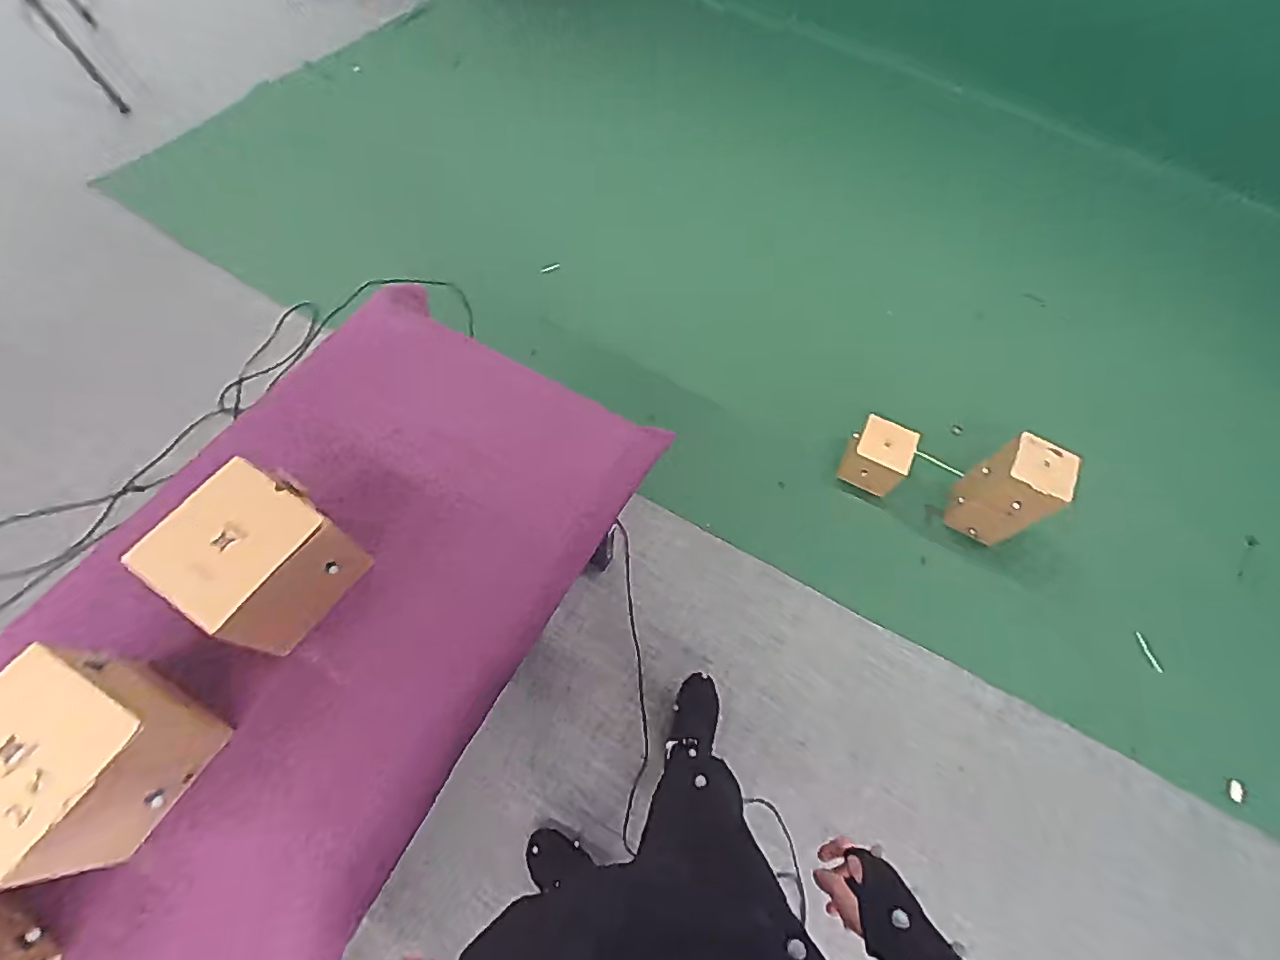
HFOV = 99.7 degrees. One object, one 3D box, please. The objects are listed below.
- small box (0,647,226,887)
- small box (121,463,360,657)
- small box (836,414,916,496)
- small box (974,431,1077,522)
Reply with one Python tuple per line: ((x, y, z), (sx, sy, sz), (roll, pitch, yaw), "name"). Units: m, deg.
((-0.644, 0.322, 0.620), (0.179, 0.176, 0.168), (29, 64, 9), "small box")
((-0.518, 0.115, 0.740), (0.168, 0.176, 0.179), (32, 65, 11), "small box")
((0.767, -0.077, 1.774), (0.168, 0.176, 0.179), (26, 62, 8), "small box")
((1.117, -0.005, 1.580), (0.168, 0.176, 0.179), (30, 66, 9), "small box")
